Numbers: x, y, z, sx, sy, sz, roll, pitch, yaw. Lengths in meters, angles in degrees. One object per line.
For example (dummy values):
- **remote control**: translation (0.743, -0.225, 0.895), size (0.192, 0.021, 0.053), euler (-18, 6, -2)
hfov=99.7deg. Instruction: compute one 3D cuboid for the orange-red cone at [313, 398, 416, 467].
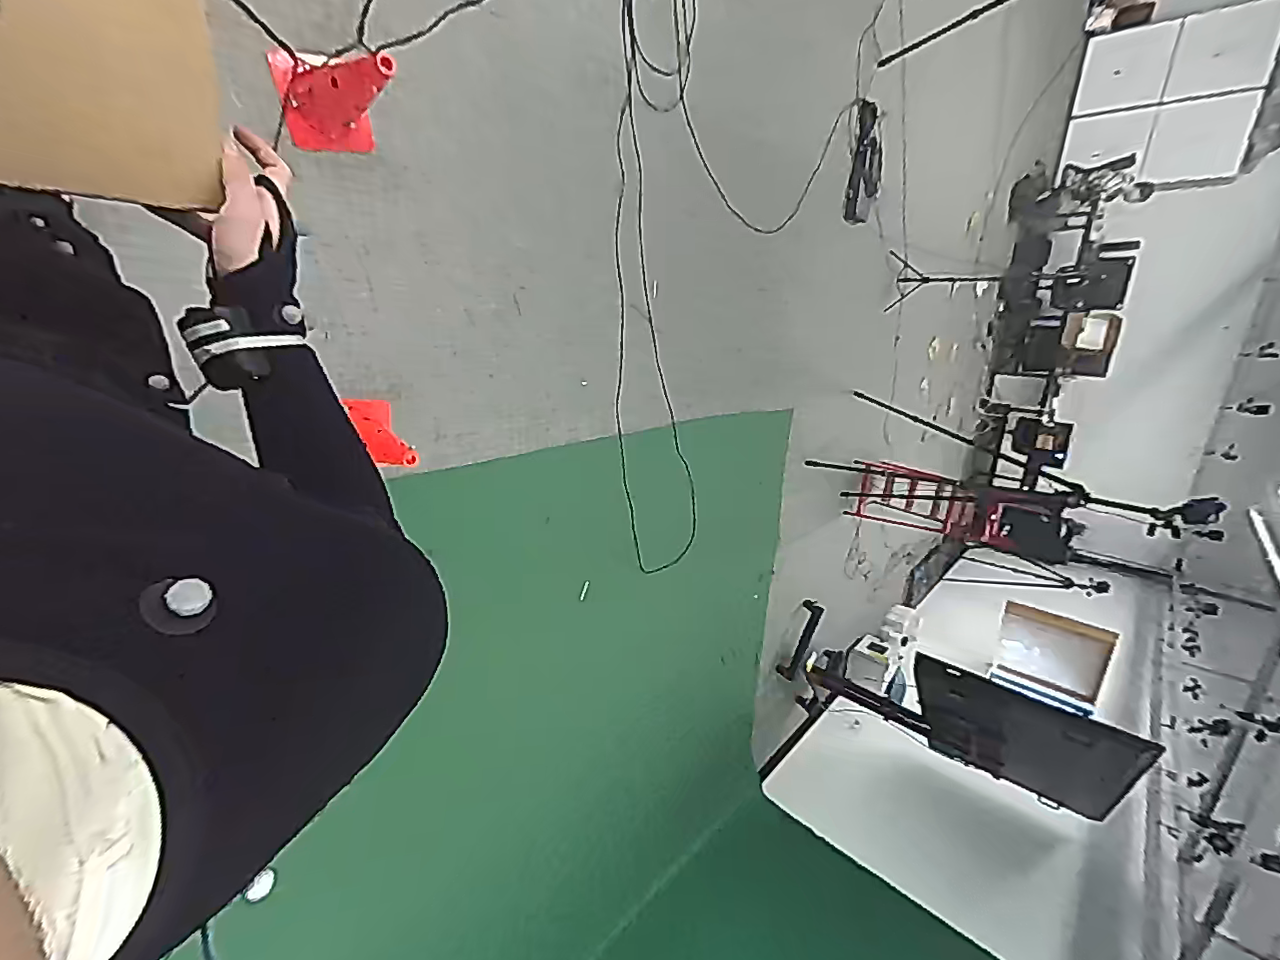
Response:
- **orange-red cone**: translation (-0.697, -0.094, 1.441), size (0.199, 0.360, 0.198), euler (-6, 109, -49)
